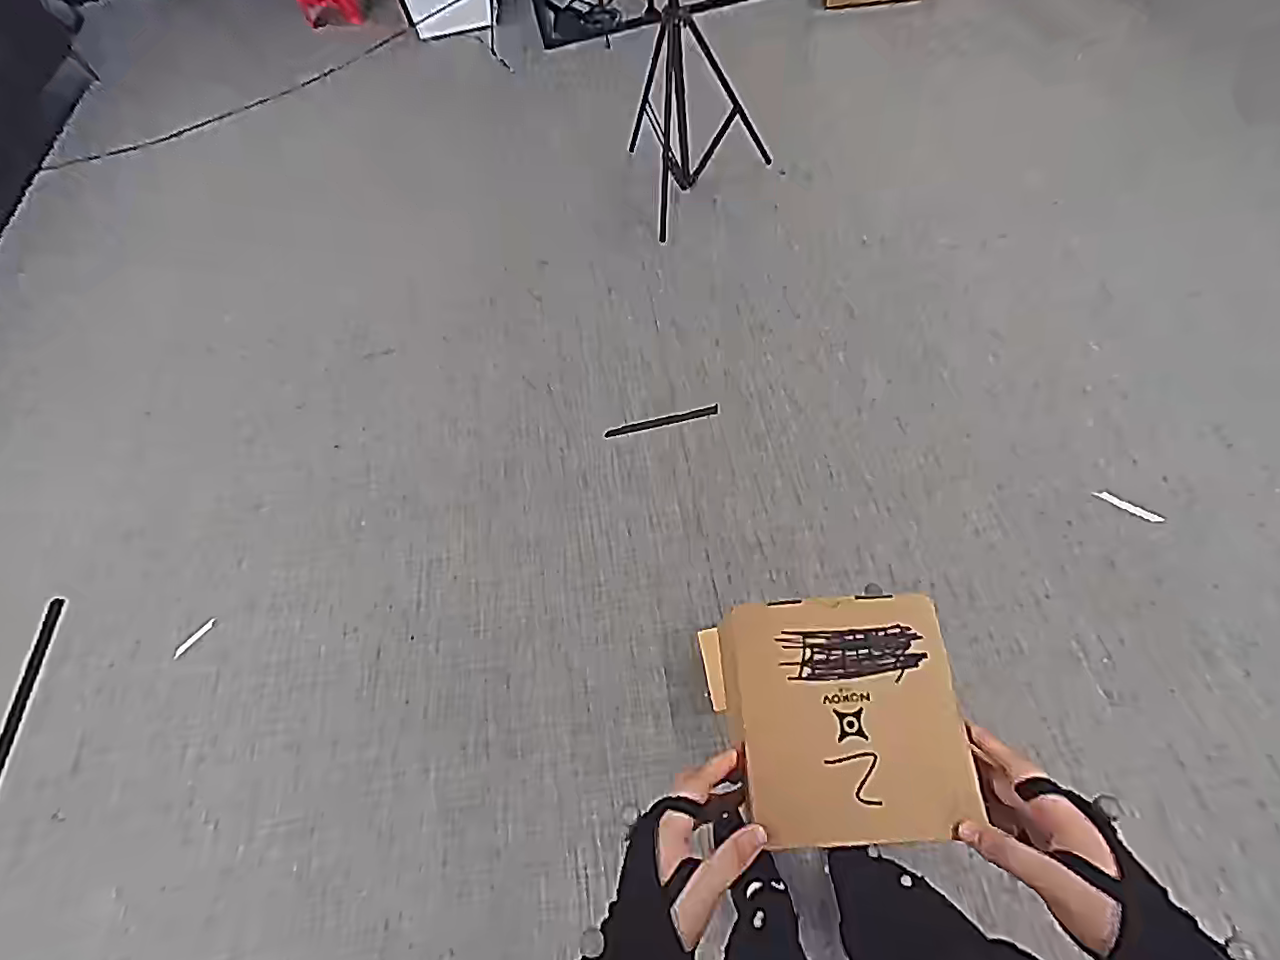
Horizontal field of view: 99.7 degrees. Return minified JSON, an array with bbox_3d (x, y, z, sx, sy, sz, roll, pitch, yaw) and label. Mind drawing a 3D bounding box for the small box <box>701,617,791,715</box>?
[{"bbox_3d":[0.242,0.440,1.271,0.168,0.176,0.179,-13,62,2],"label":"small box"}]
